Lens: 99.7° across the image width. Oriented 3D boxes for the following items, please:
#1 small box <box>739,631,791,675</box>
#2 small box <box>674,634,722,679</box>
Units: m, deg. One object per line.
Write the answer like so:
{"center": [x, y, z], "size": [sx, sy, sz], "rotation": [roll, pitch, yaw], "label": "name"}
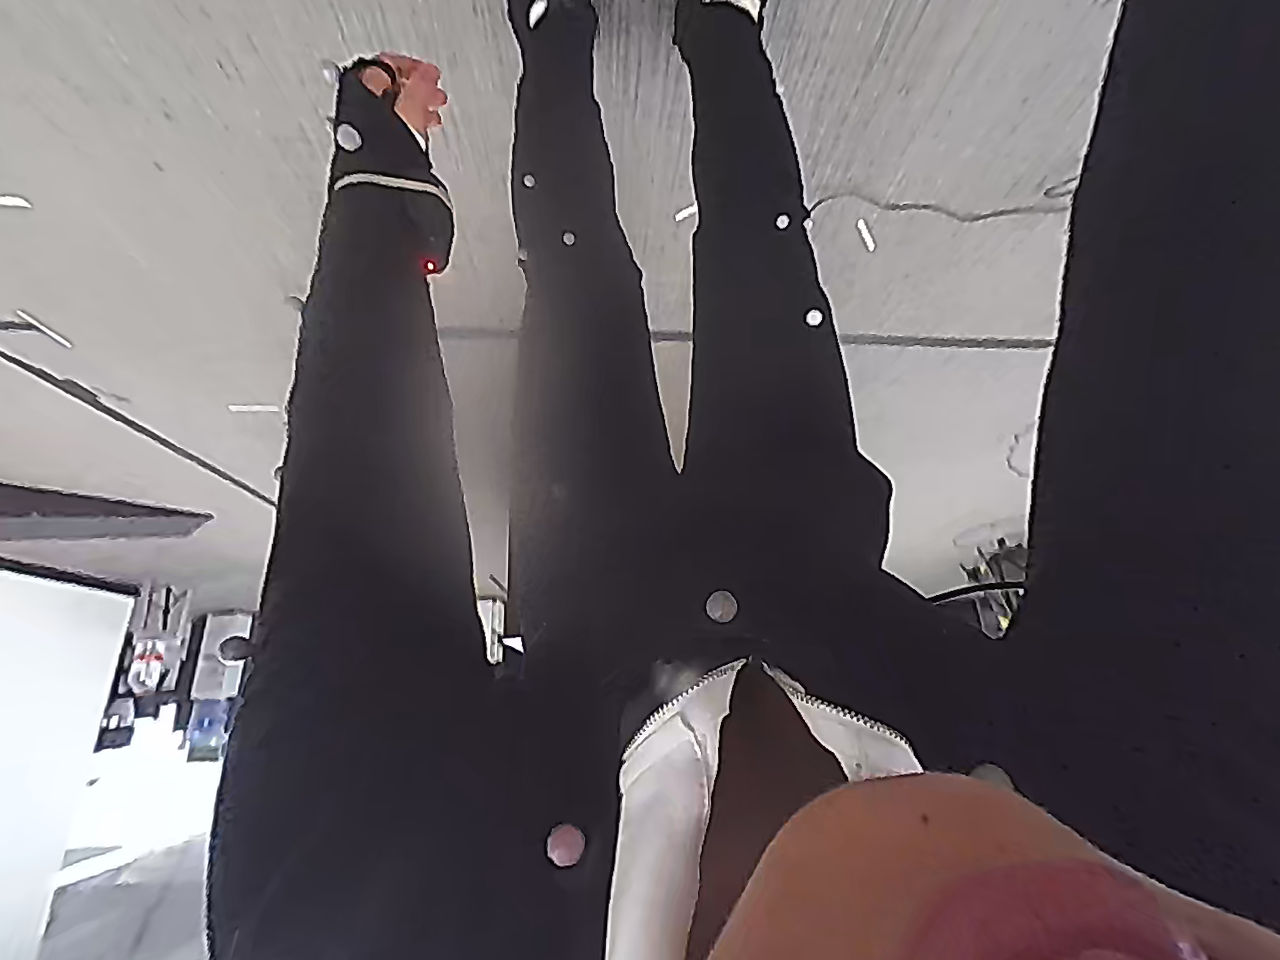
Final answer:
{"center": [0.522, 0.730, 2.282], "size": [0.168, 0.176, 0.179], "rotation": [-1, 160, -3], "label": "small box"}
{"center": [0.237, 0.734, 2.247], "size": [0.168, 0.176, 0.179], "rotation": [-2, 158, -5], "label": "small box"}
